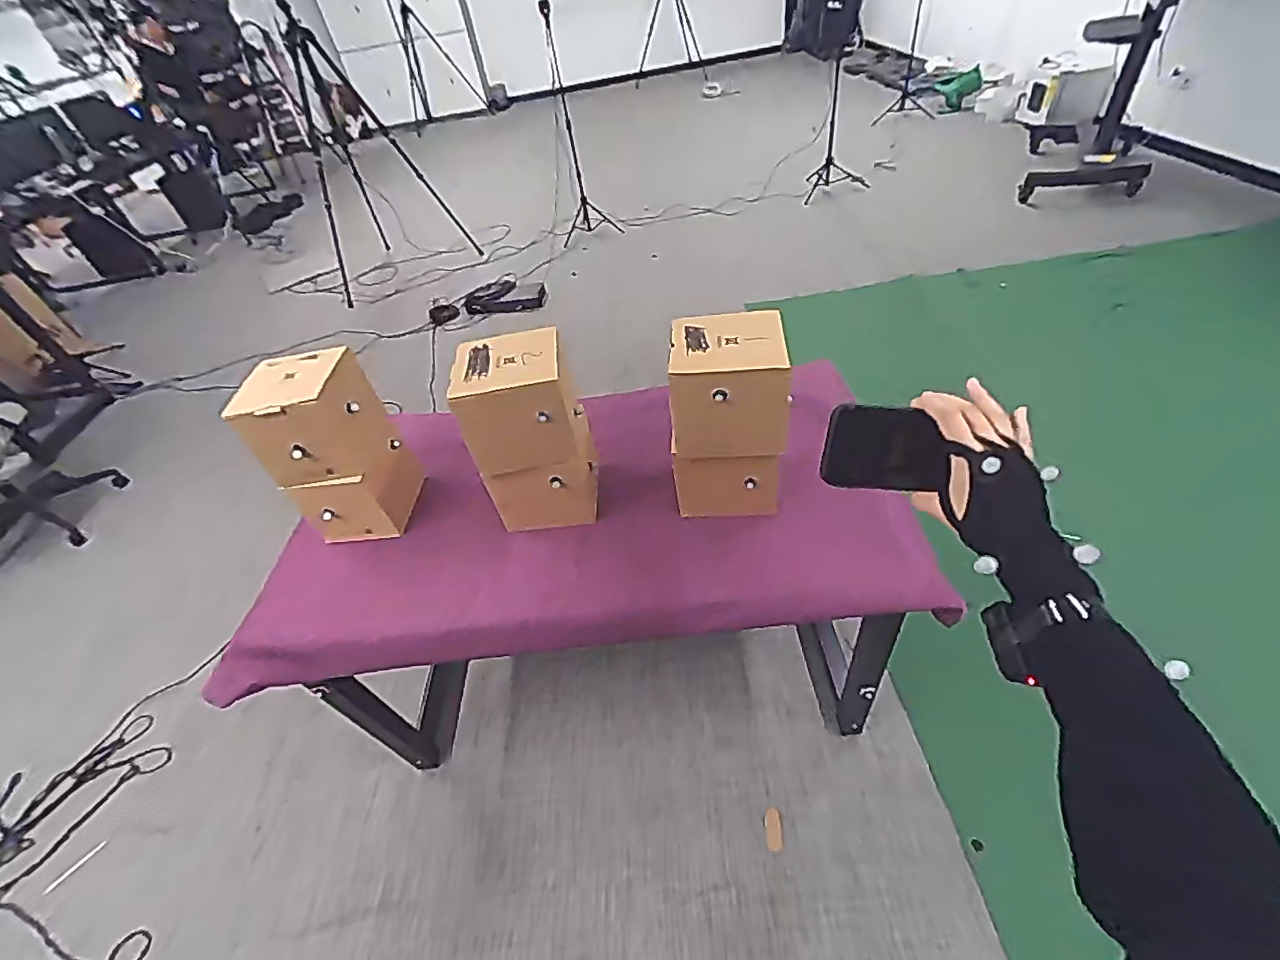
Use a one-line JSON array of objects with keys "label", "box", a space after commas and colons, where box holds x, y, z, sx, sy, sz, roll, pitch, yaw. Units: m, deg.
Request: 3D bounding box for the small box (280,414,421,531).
[{"label": "small box", "box": [-0.573, -0.008, 1.100, 0.168, 0.176, 0.179, -5, 45, 6]}]

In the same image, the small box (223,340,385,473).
[{"label": "small box", "box": [-0.596, -0.128, 0.990, 0.168, 0.176, 0.179, -9, 46, 2]}]

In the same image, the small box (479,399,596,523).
[{"label": "small box", "box": [-0.186, -0.034, 1.047, 0.179, 0.176, 0.168, -6, 45, 6]}]

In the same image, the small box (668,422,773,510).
[{"label": "small box", "box": [0.152, -0.057, 1.005, 0.179, 0.176, 0.168, -2, 46, 11]}]

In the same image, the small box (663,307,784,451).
[{"label": "small box", "box": [0.137, -0.160, 0.878, 0.179, 0.176, 0.168, -1, 46, 9]}]
